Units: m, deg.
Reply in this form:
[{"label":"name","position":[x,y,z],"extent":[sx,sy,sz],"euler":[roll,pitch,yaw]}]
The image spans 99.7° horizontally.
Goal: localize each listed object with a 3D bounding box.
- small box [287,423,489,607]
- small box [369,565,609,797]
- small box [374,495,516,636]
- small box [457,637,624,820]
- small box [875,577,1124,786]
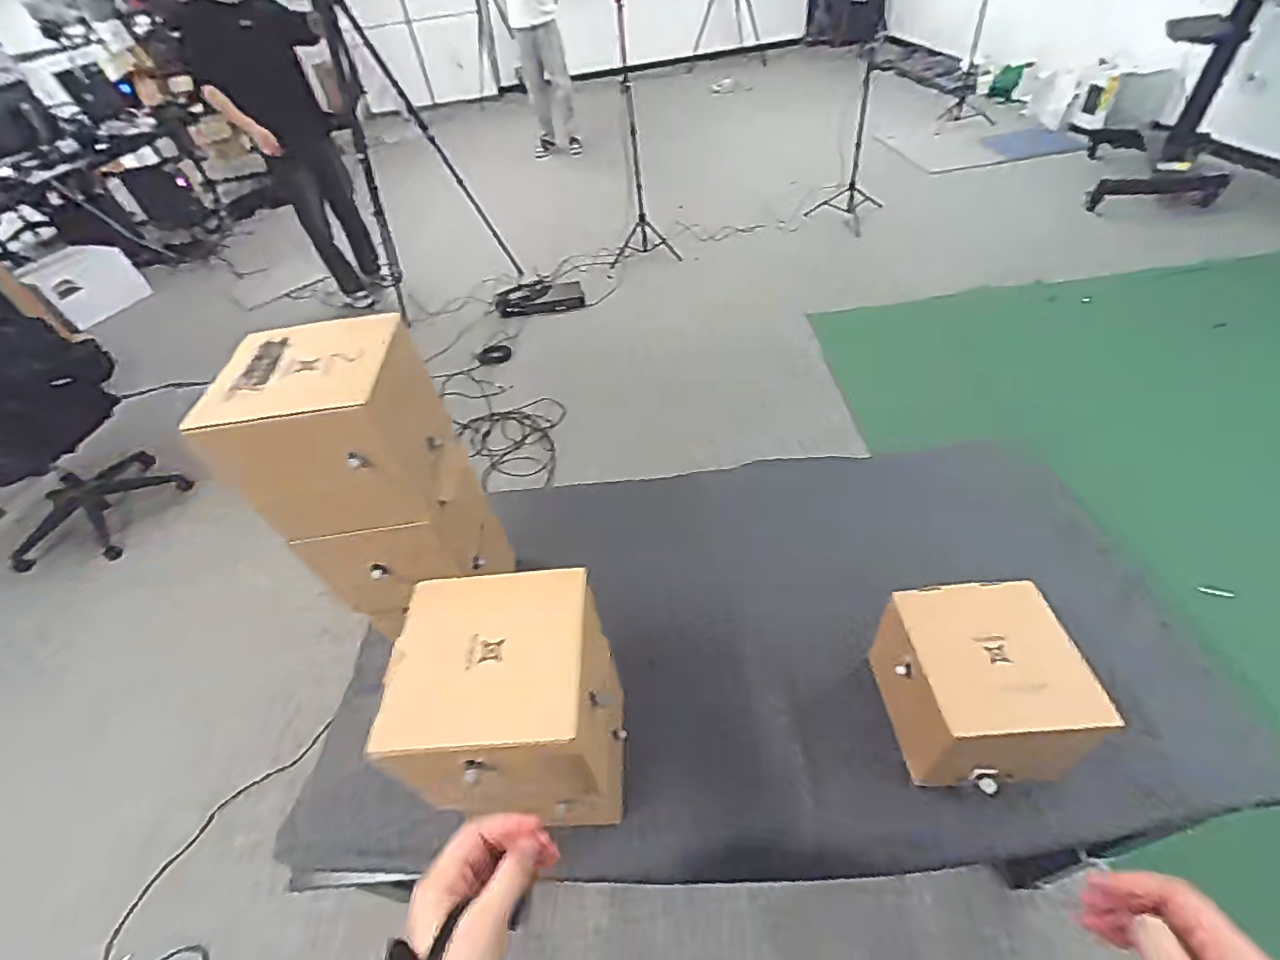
[{"label":"small box","position":[-0.316,0.050,0.726],"extent":[0.179,0.176,0.168],"euler":[-9,47,1]},{"label":"small box","position":[-0.128,0.206,0.546],"extent":[0.179,0.176,0.168],"euler":[-6,46,4]},{"label":"small box","position":[-0.299,0.151,0.856],"extent":[0.168,0.176,0.179],"euler":[-9,46,0]},{"label":"small box","position":[-0.116,0.309,0.671],"extent":[0.179,0.176,0.168],"euler":[-5,46,5]},{"label":"small box","position":[0.401,0.242,0.648],"extent":[0.168,0.176,0.179],"euler":[-7,45,4]}]
